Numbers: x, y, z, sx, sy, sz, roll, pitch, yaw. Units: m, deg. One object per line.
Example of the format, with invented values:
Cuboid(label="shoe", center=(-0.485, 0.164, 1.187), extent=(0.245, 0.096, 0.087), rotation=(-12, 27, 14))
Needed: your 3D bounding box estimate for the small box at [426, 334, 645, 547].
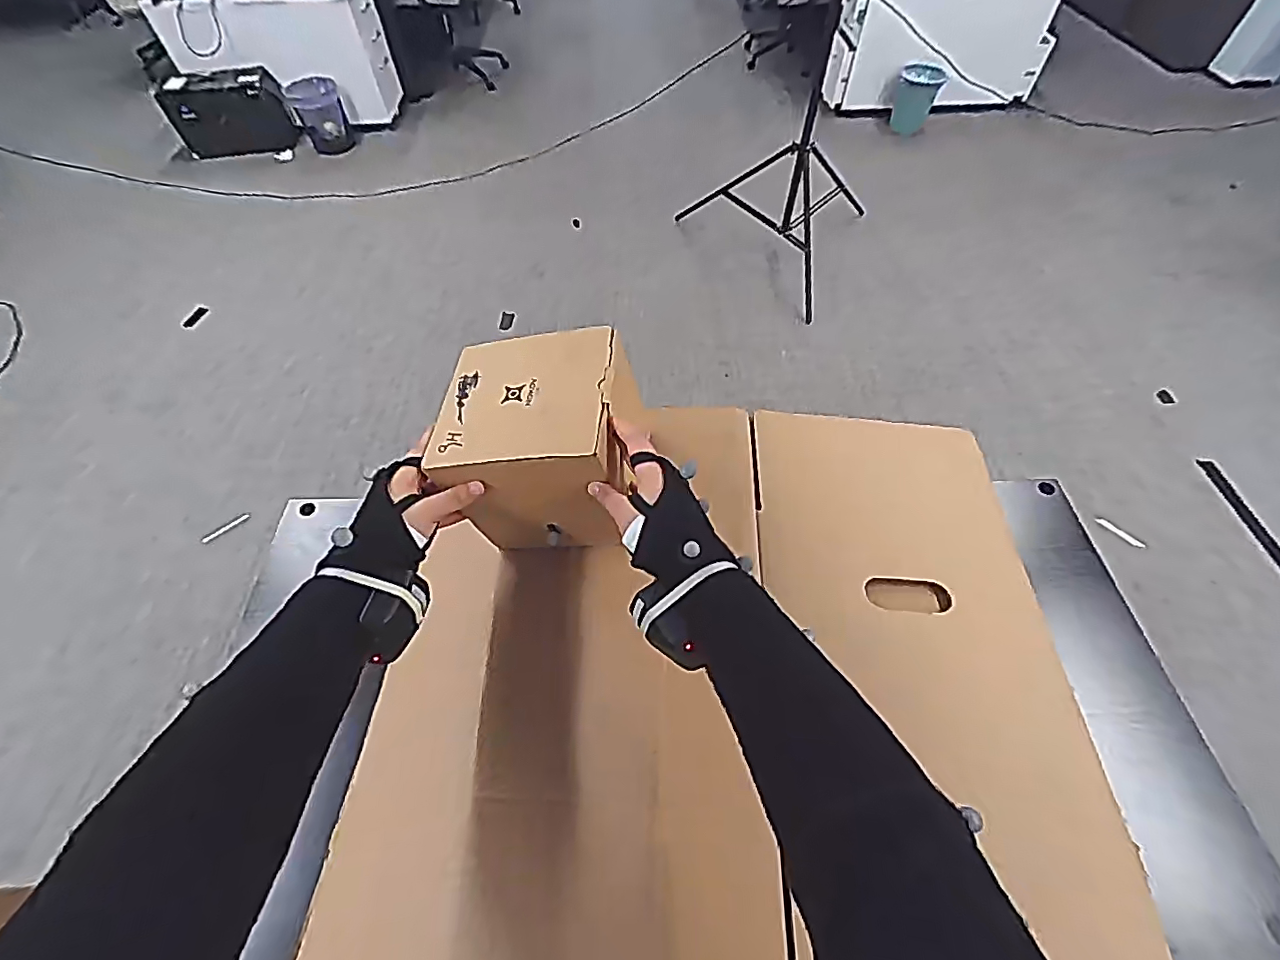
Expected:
Cuboid(label="small box", center=(-0.096, -0.035, 0.600), extent=(0.179, 0.176, 0.168), rotation=(-3, 54, 12))

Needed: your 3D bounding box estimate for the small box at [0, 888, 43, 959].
Cuboid(label="small box", center=(-1.193, 0.810, 0.909), extent=(0.168, 0.176, 0.179), rotation=(-7, 55, -5))
